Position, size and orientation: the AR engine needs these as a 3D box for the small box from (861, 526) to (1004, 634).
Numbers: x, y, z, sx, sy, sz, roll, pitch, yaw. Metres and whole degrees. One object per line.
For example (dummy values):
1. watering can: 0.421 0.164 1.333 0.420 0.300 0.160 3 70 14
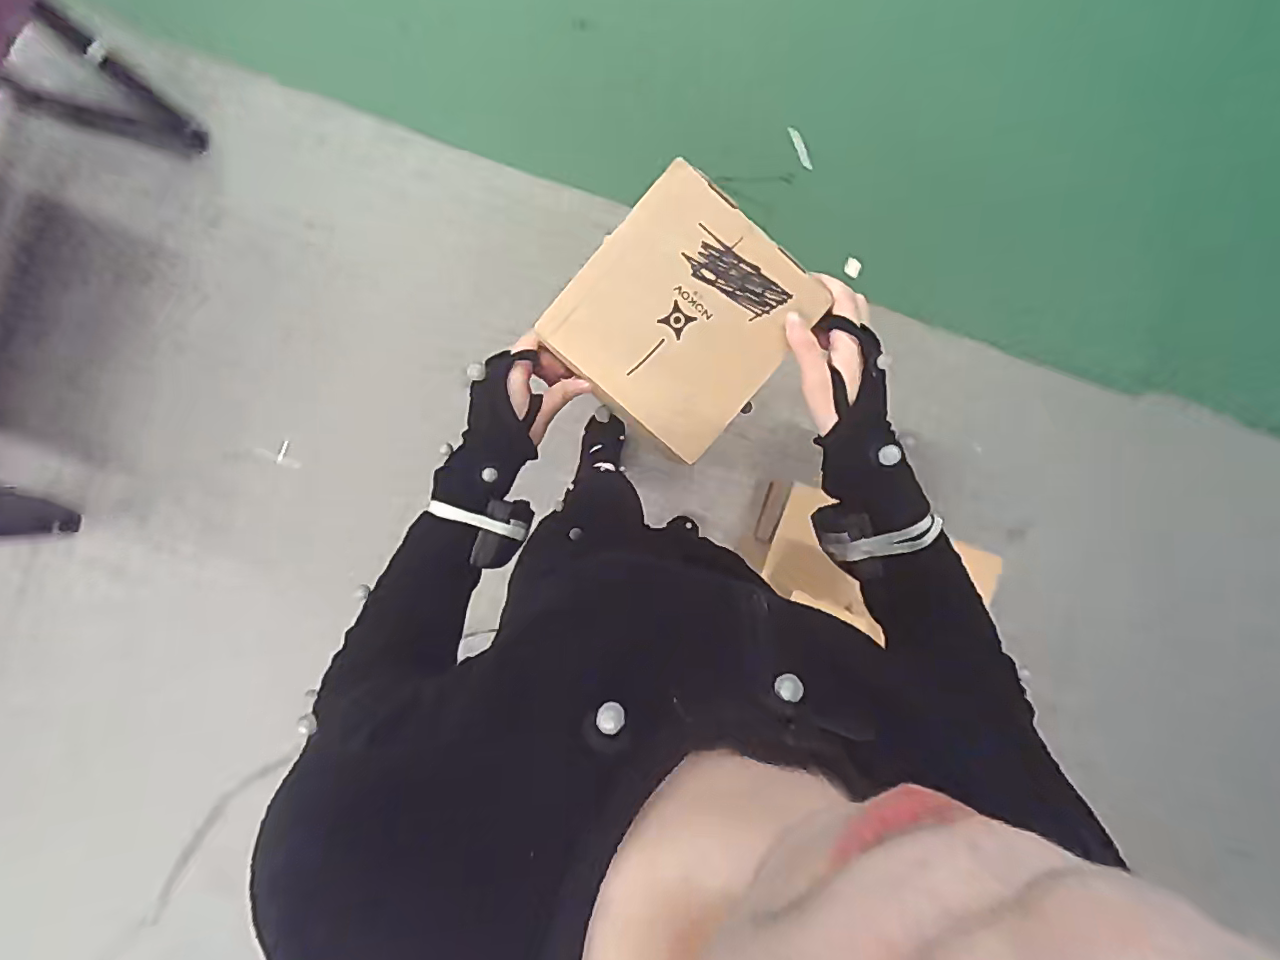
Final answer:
1. small box: 0.606 0.201 1.140 0.179 0.176 0.168 21 86 -4
